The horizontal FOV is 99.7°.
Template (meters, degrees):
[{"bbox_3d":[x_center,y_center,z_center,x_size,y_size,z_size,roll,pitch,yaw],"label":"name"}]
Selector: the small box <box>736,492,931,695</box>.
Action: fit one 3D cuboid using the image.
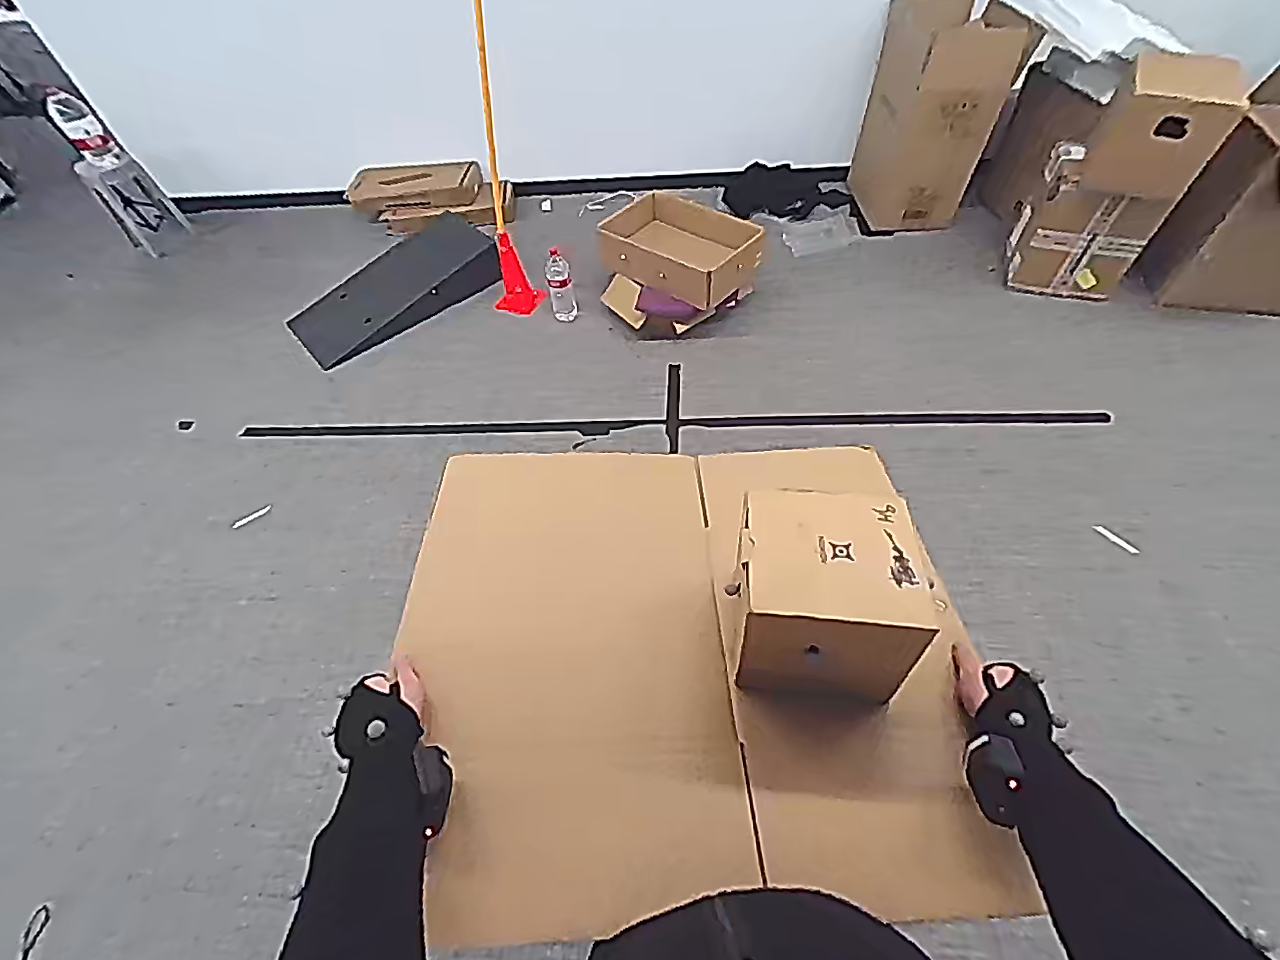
[{"bbox_3d":[0.203,0.132,0.624,0.179,0.176,0.168,3,47,8],"label":"small box"}]
